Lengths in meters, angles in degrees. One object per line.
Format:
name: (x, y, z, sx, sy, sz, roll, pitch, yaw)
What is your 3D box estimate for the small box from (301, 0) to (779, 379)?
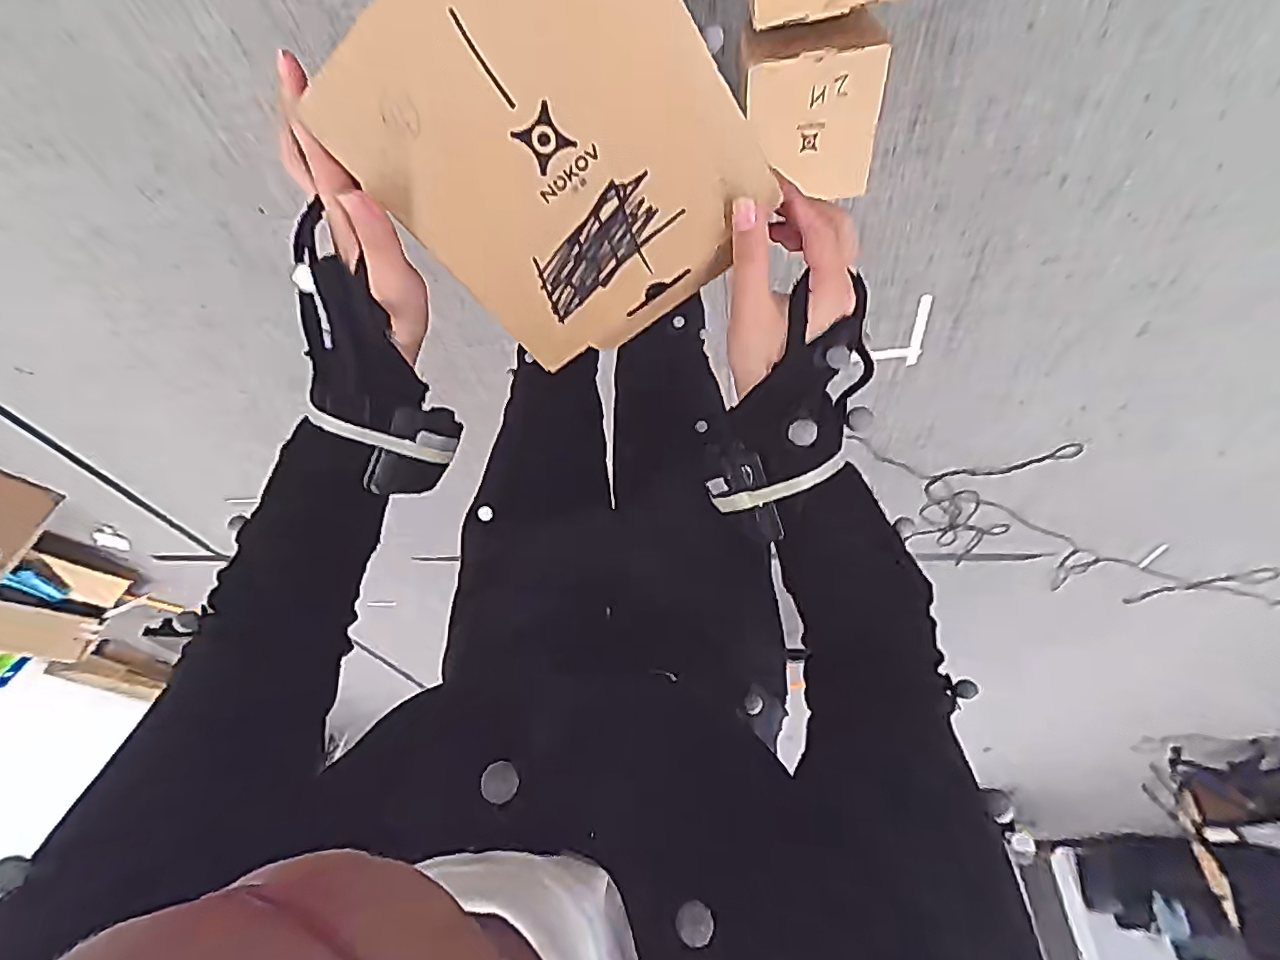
small box: (-0.042, -0.202, 0.323, 0.168, 0.176, 0.179, -30, 126, 22)
